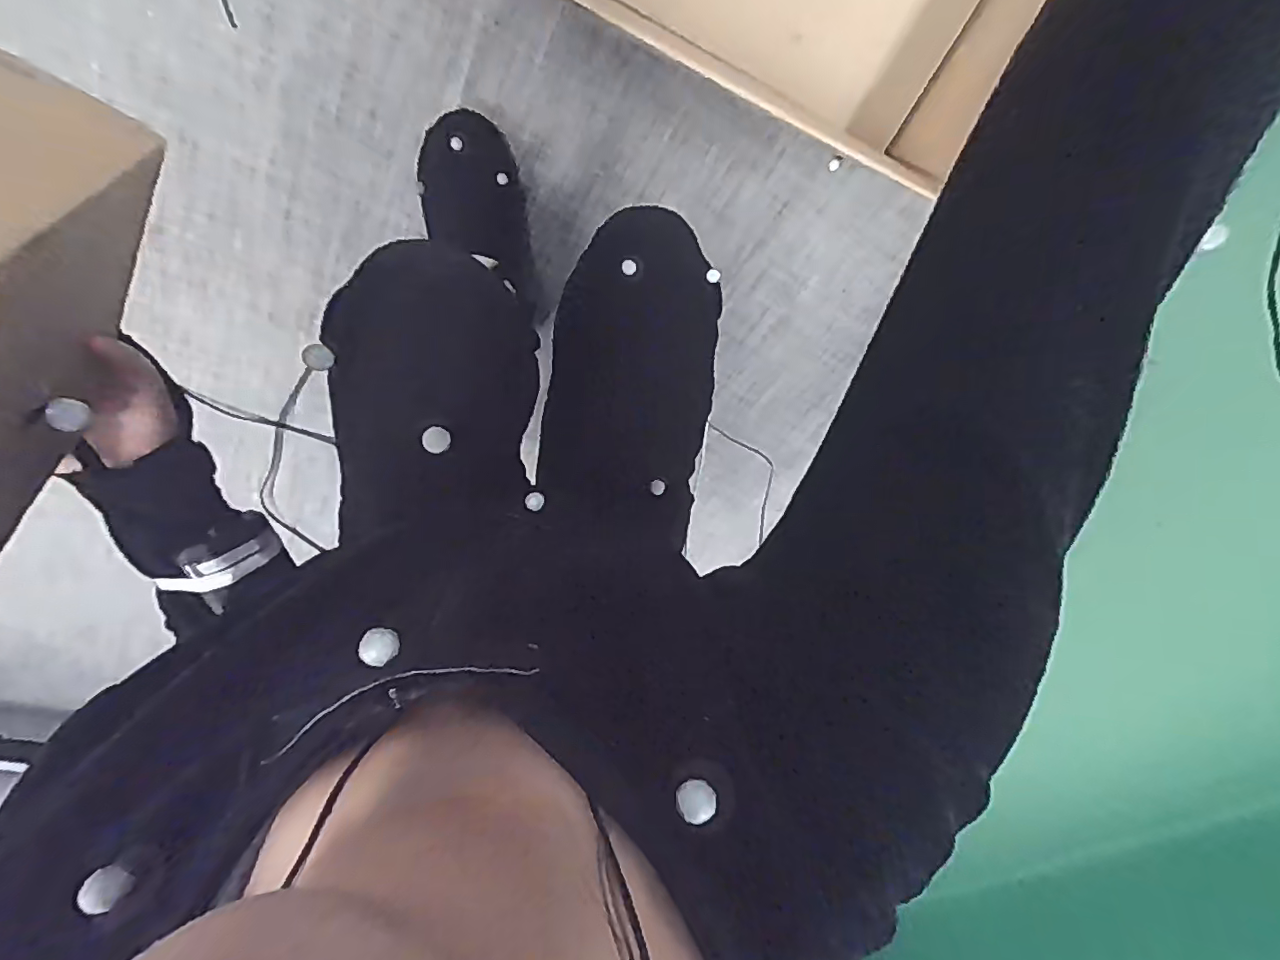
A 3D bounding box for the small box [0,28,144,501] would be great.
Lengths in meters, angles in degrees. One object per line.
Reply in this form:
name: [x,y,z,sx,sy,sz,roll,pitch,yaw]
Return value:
small box: [-0.306,-0.078,0.177,0.168,0.176,0.179,21,119,-39]
